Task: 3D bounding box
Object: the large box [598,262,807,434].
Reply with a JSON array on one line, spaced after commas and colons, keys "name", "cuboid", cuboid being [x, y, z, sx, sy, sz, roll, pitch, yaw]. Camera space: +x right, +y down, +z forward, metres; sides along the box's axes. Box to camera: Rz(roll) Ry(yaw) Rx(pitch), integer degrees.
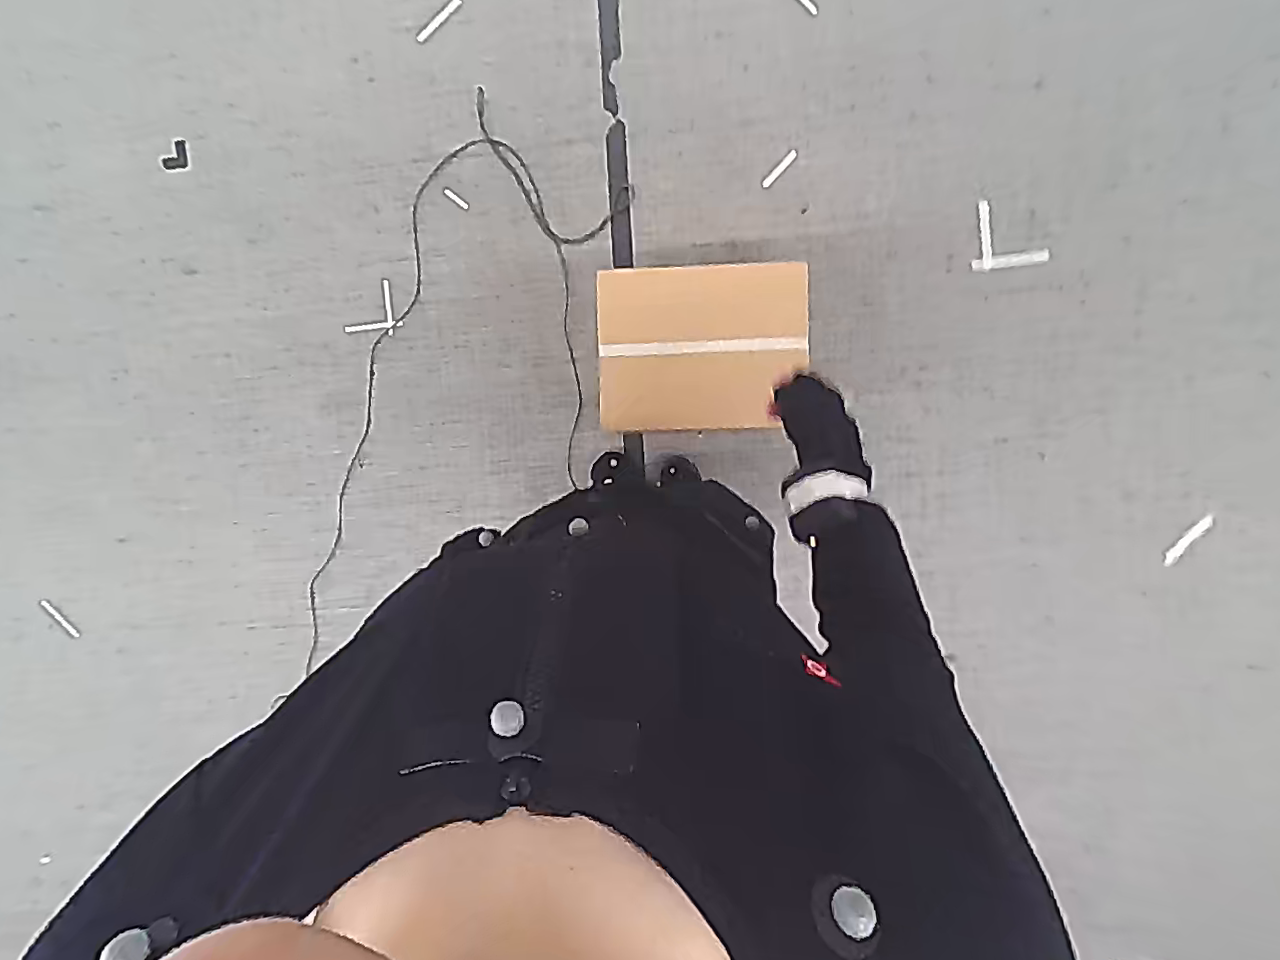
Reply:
[{"name": "large box", "cuboid": [0.127, -0.266, 1.199, 0.408, 0.320, 0.320, -1, 94, 3]}]
